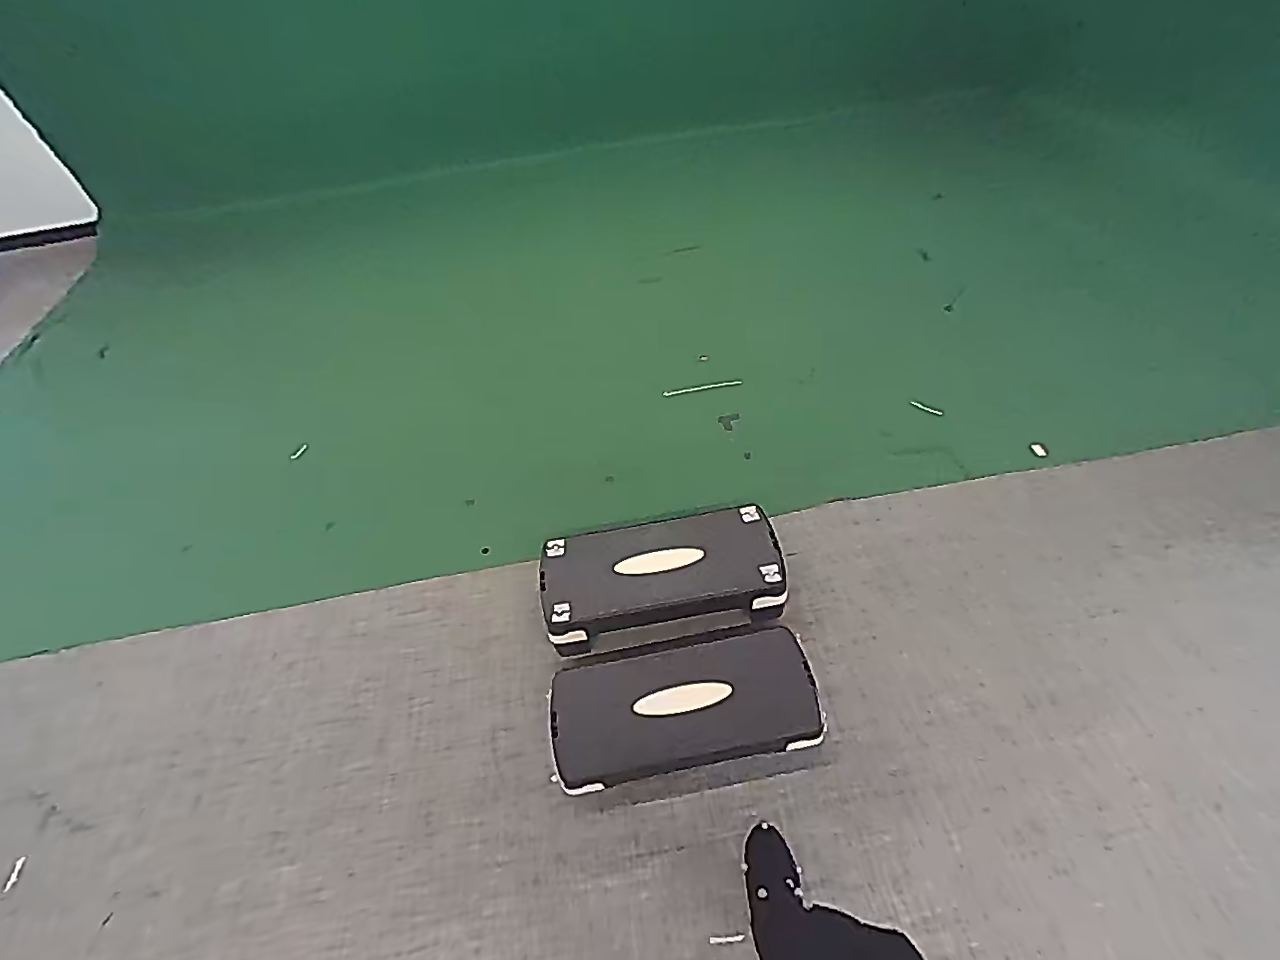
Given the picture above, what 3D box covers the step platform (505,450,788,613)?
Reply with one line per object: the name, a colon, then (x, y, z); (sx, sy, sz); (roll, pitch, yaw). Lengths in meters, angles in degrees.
step platform: (0.015, 0.133, 1.395); (0.684, 0.204, 0.286); (-10, 52, -1)
